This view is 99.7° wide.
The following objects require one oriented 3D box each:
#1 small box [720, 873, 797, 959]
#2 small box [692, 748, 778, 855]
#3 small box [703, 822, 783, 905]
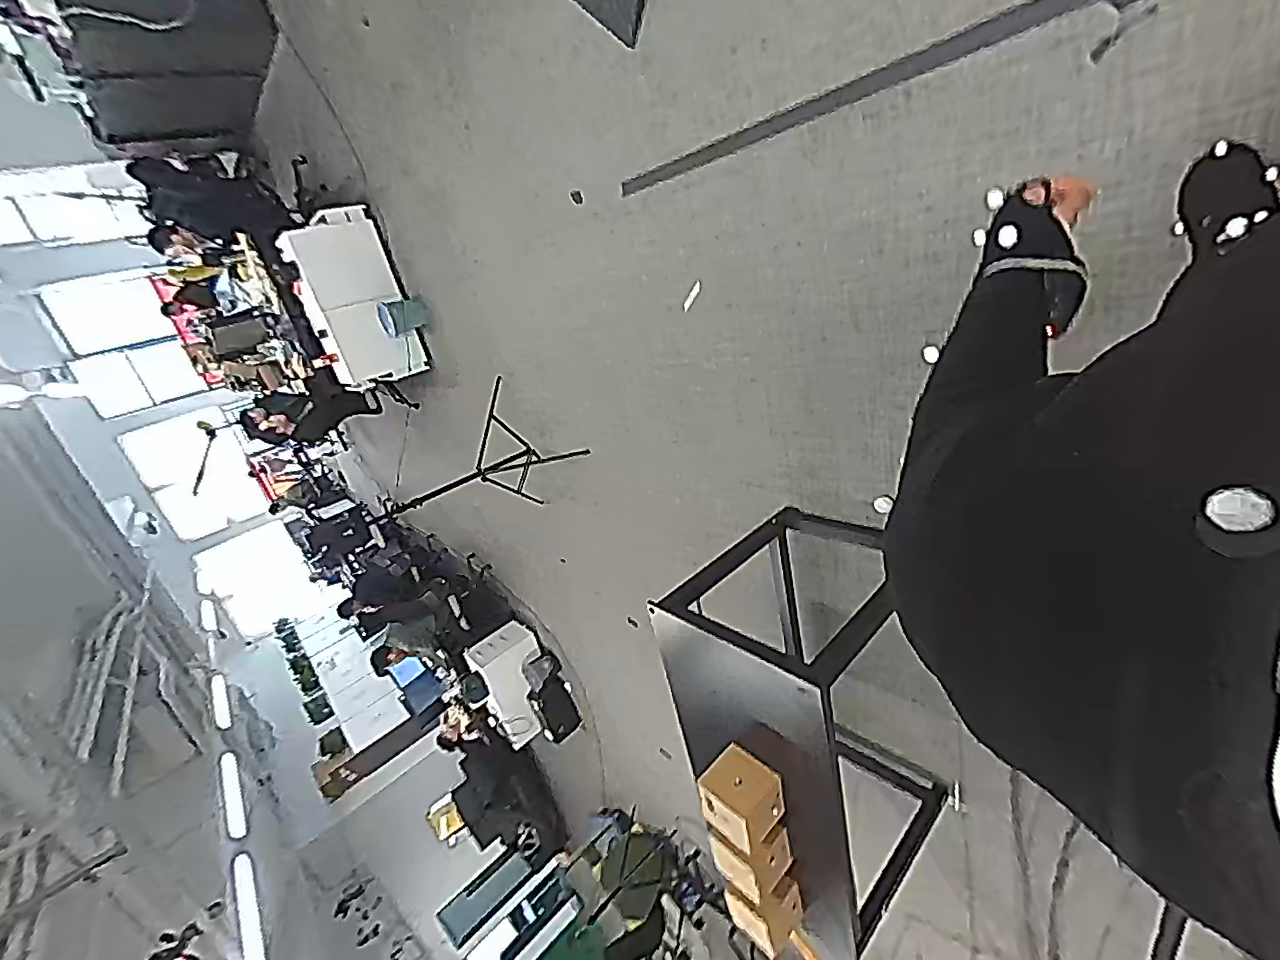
[{"bbox_3d":[0.389,1.376,1.762,0.168,0.176,0.179,11,122,49],"label":"small box"},{"bbox_3d":[0.278,0.917,1.566,0.179,0.176,0.168,17,127,45],"label":"small box"},{"bbox_3d":[0.326,1.138,1.671,0.179,0.176,0.168,13,123,49],"label":"small box"}]
